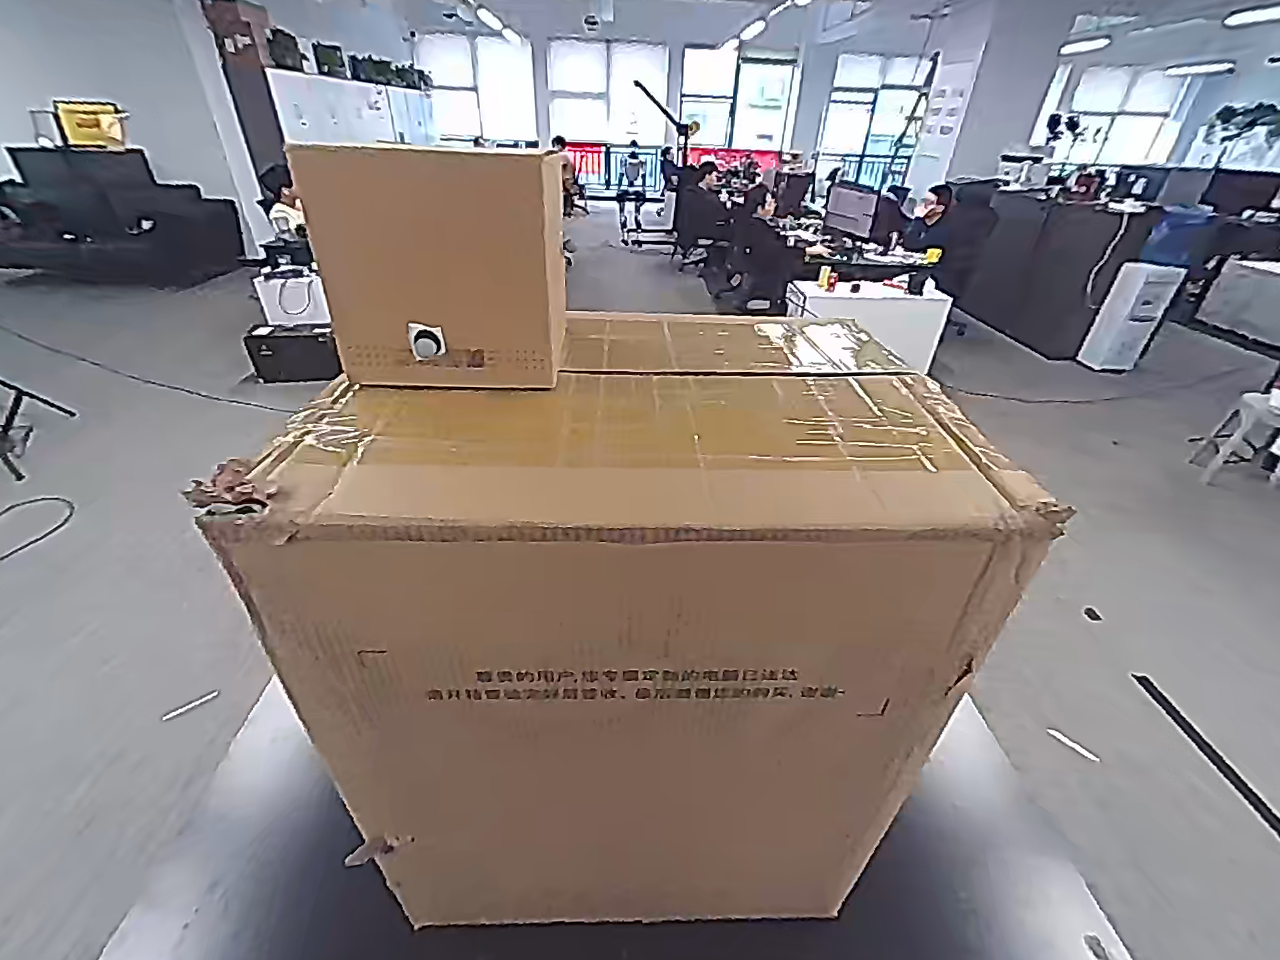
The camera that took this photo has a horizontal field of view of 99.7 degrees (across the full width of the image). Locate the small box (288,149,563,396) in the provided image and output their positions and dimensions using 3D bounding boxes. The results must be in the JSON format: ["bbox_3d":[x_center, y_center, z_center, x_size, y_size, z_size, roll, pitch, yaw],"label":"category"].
[{"bbox_3d":[-0.156,-0.182,0.465,0.168,0.176,0.179,-2,33,-4],"label":"small box"}]
